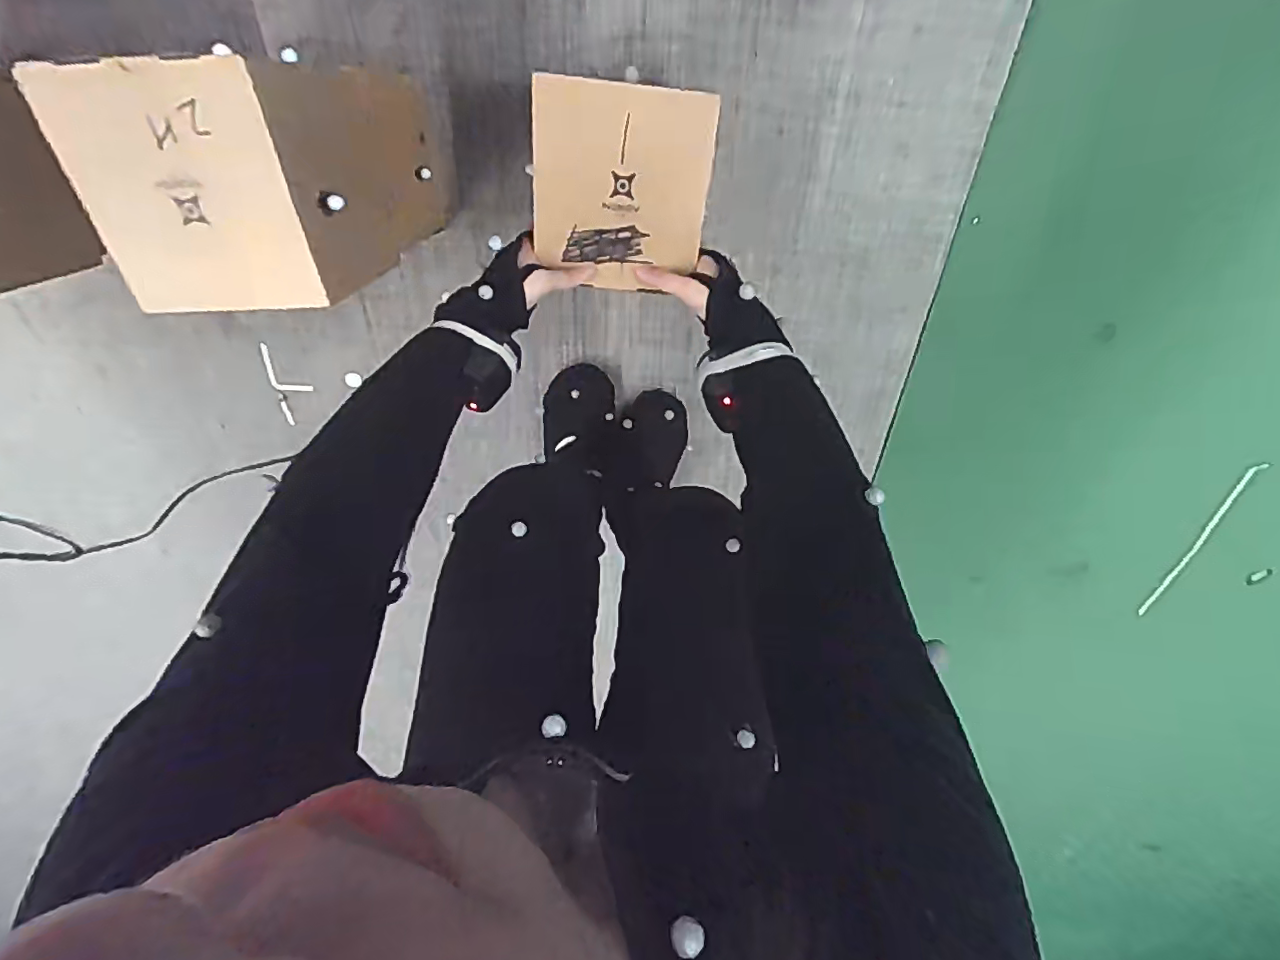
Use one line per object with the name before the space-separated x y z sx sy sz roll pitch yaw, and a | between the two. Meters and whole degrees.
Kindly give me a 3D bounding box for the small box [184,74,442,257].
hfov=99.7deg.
small box | -0.356 -0.363 0.630 0.179 0.176 0.168 0 124 0
